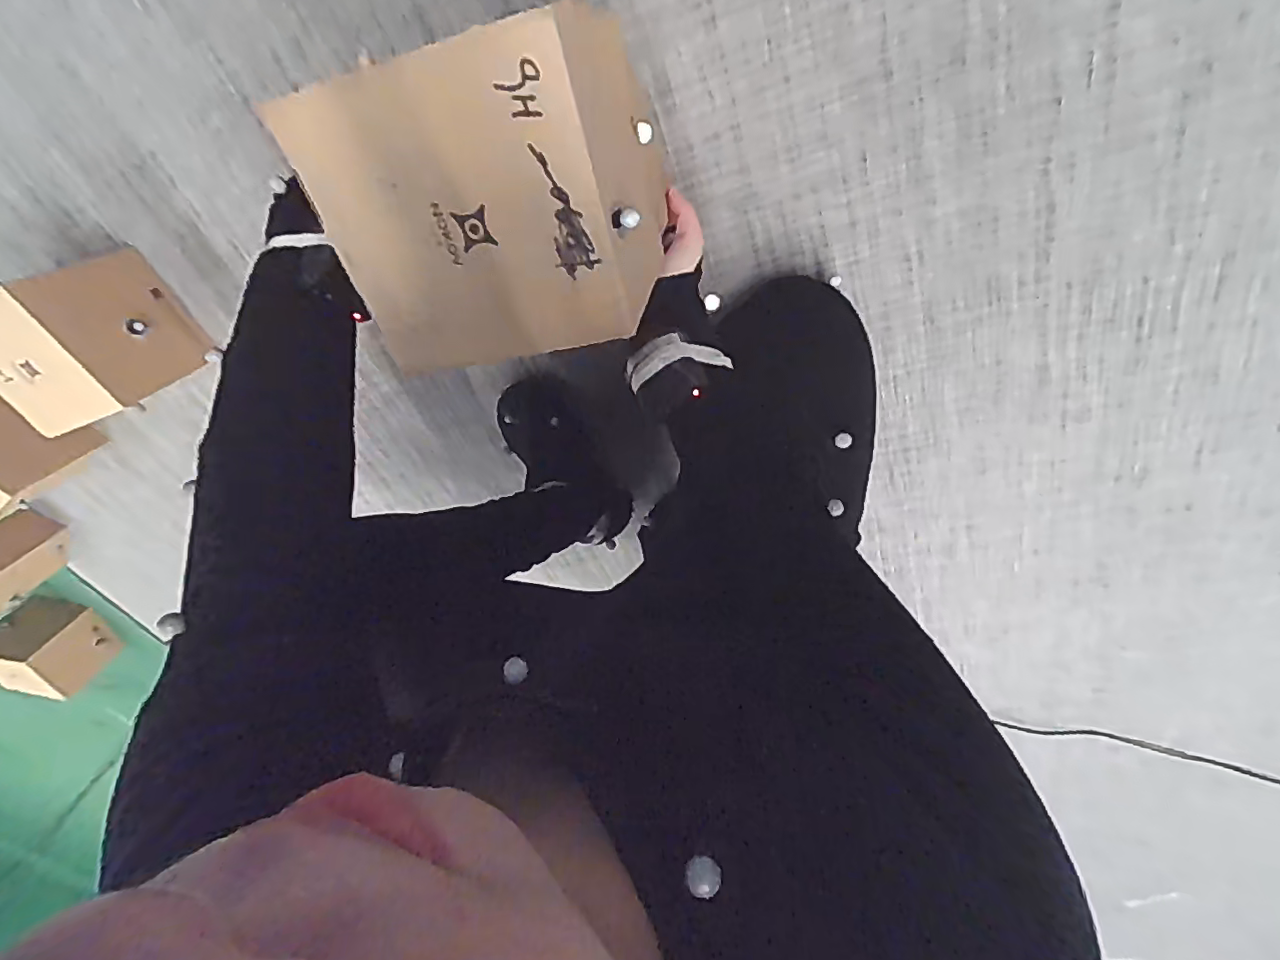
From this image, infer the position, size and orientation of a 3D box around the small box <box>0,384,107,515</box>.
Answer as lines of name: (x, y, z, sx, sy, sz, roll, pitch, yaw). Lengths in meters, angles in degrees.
small box: (-1.069, -0.057, 0.906, 0.179, 0.176, 0.168, -23, 119, 25)

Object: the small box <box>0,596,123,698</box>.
small box: (-1.479, 0.412, 1.354, 0.179, 0.176, 0.168, 9, 128, 6)

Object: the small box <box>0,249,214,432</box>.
small box: (-0.737, -0.192, 0.733, 0.179, 0.176, 0.168, -11, 123, 20)
